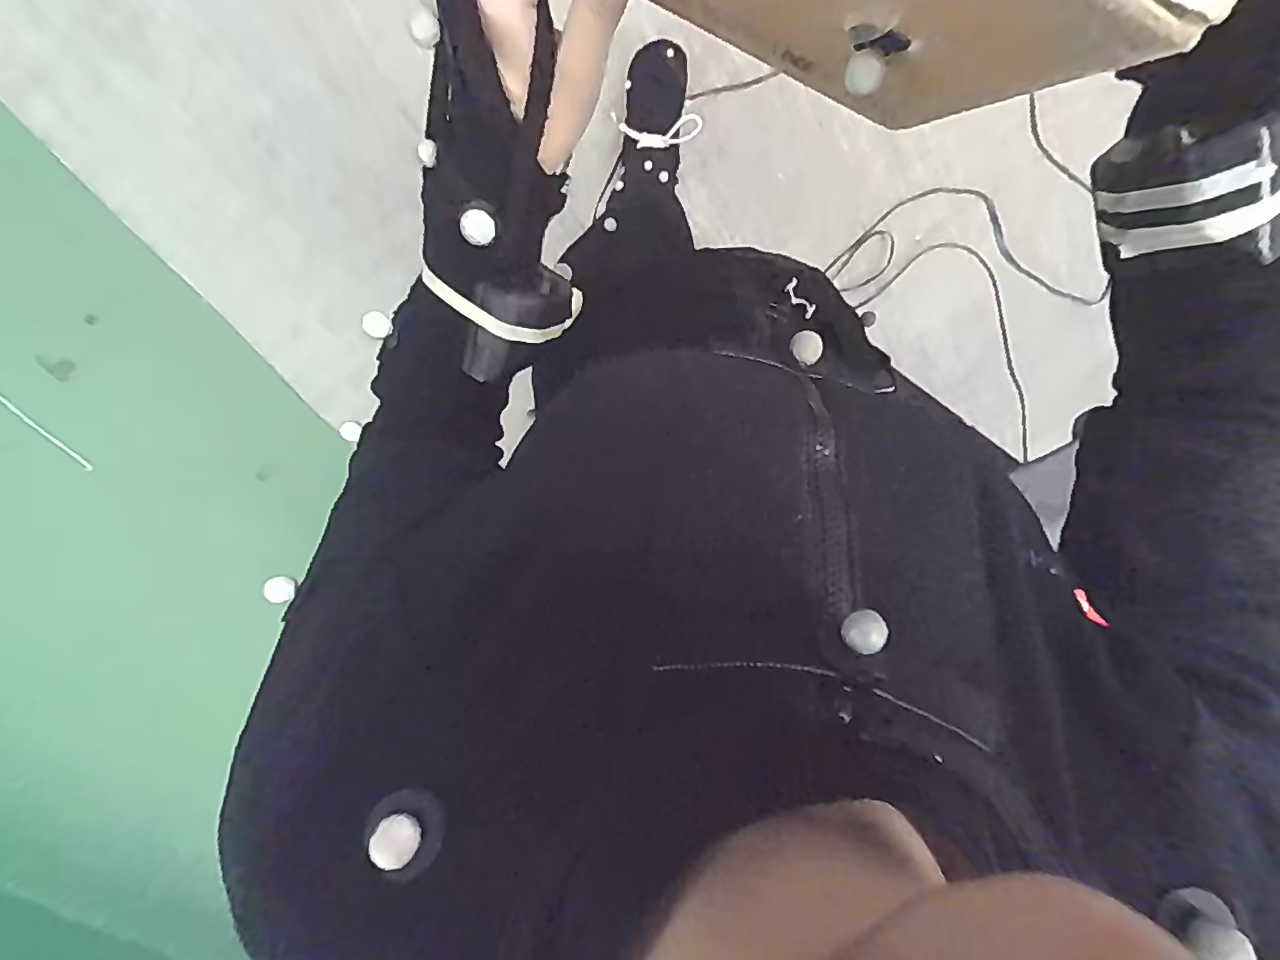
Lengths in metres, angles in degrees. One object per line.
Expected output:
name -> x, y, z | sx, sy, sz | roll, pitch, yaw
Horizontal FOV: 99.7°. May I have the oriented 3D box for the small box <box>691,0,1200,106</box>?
small box -> 0.074, -0.228, 0.133 | 0.168, 0.176, 0.179 | 20, 116, -10
